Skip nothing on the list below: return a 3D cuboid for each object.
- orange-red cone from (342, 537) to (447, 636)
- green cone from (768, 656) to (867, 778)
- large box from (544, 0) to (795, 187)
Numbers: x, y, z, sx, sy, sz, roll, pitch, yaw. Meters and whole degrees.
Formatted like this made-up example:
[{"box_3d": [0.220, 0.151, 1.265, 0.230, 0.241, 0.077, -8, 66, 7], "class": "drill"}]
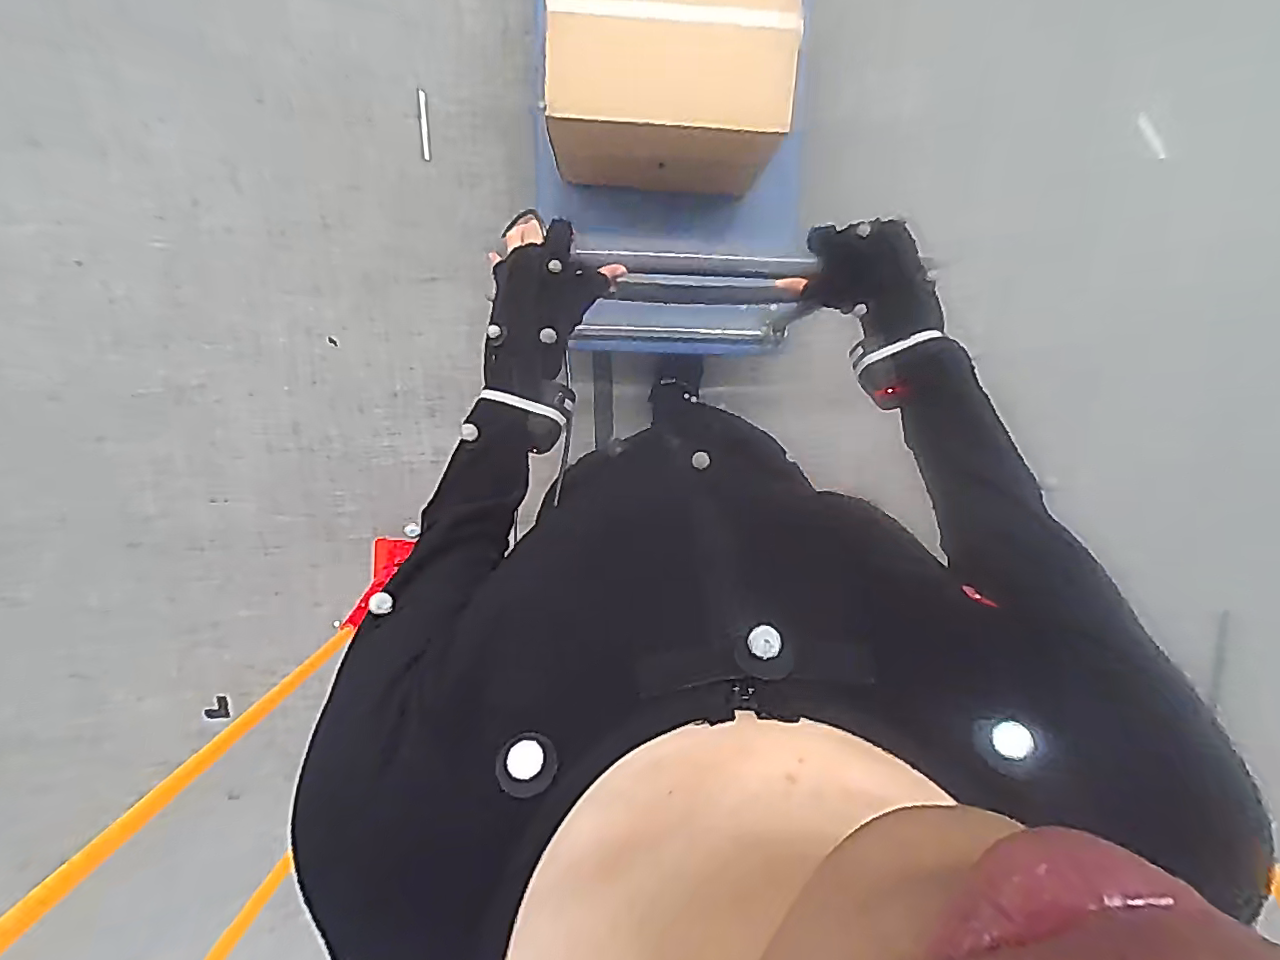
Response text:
[{"box_3d": [-0.626, 0.284, 1.320, 0.198, 0.360, 0.199, 6, 99, -4], "class": "orange-red cone"}, {"box_3d": [0.491, 0.645, 1.426, 0.202, 0.368, 0.200, 2, 100, -4], "class": "green cone"}, {"box_3d": [0.044, -0.763, 1.004, 0.408, 0.320, 0.320, 2, 100, -2], "class": "large box"}]
